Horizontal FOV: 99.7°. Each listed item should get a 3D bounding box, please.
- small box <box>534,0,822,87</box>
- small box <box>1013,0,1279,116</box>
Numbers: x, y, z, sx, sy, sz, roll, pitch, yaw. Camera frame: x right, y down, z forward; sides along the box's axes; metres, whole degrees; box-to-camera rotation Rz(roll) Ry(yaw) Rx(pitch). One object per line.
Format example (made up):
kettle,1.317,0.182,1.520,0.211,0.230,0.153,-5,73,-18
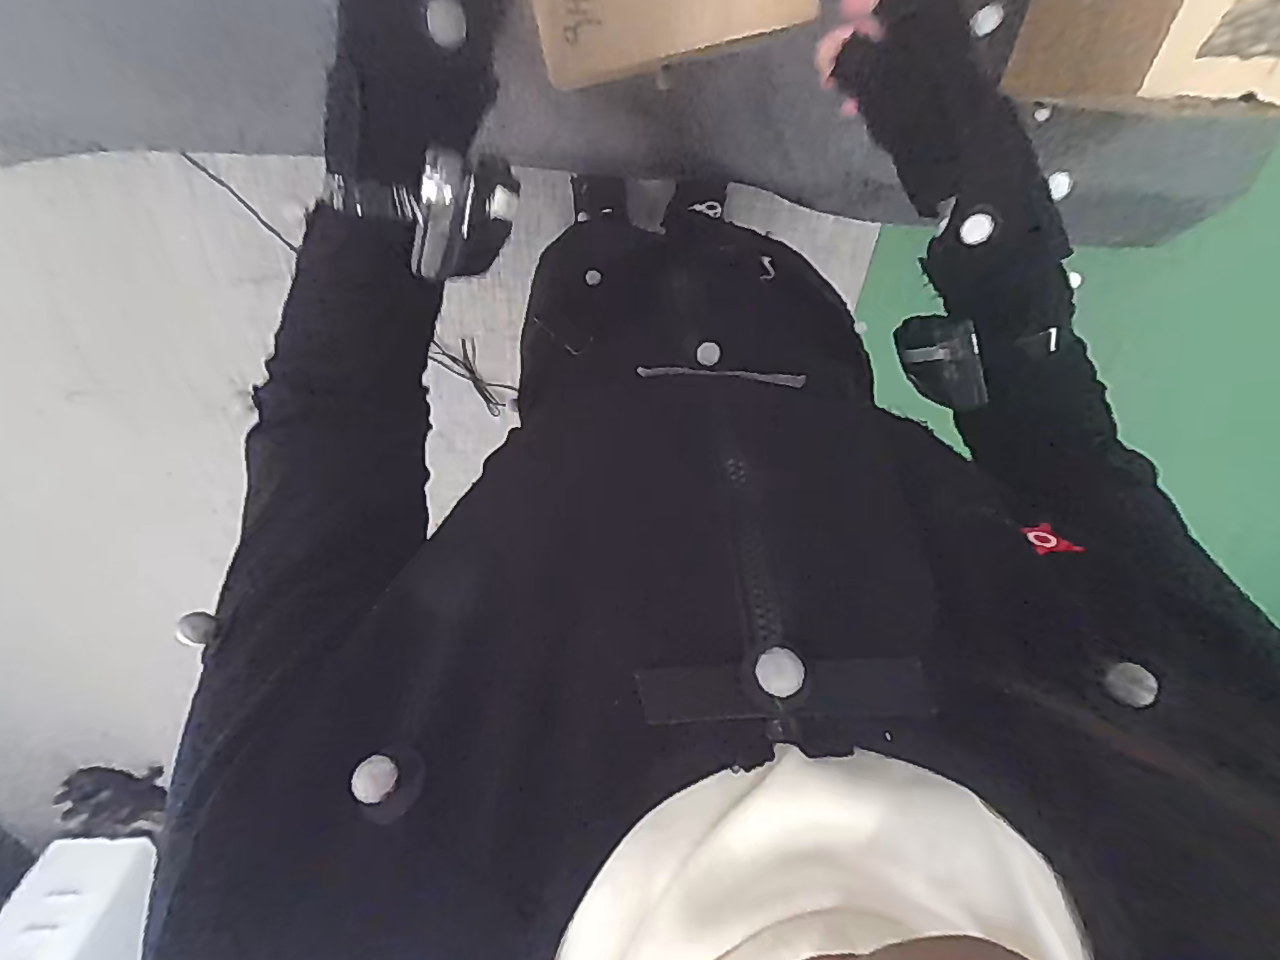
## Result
small box,0.008,-0.379,0.361,0.179,0.176,0.168,-11,125,2
small box,0.420,-0.376,0.392,0.168,0.176,0.179,2,124,-5
